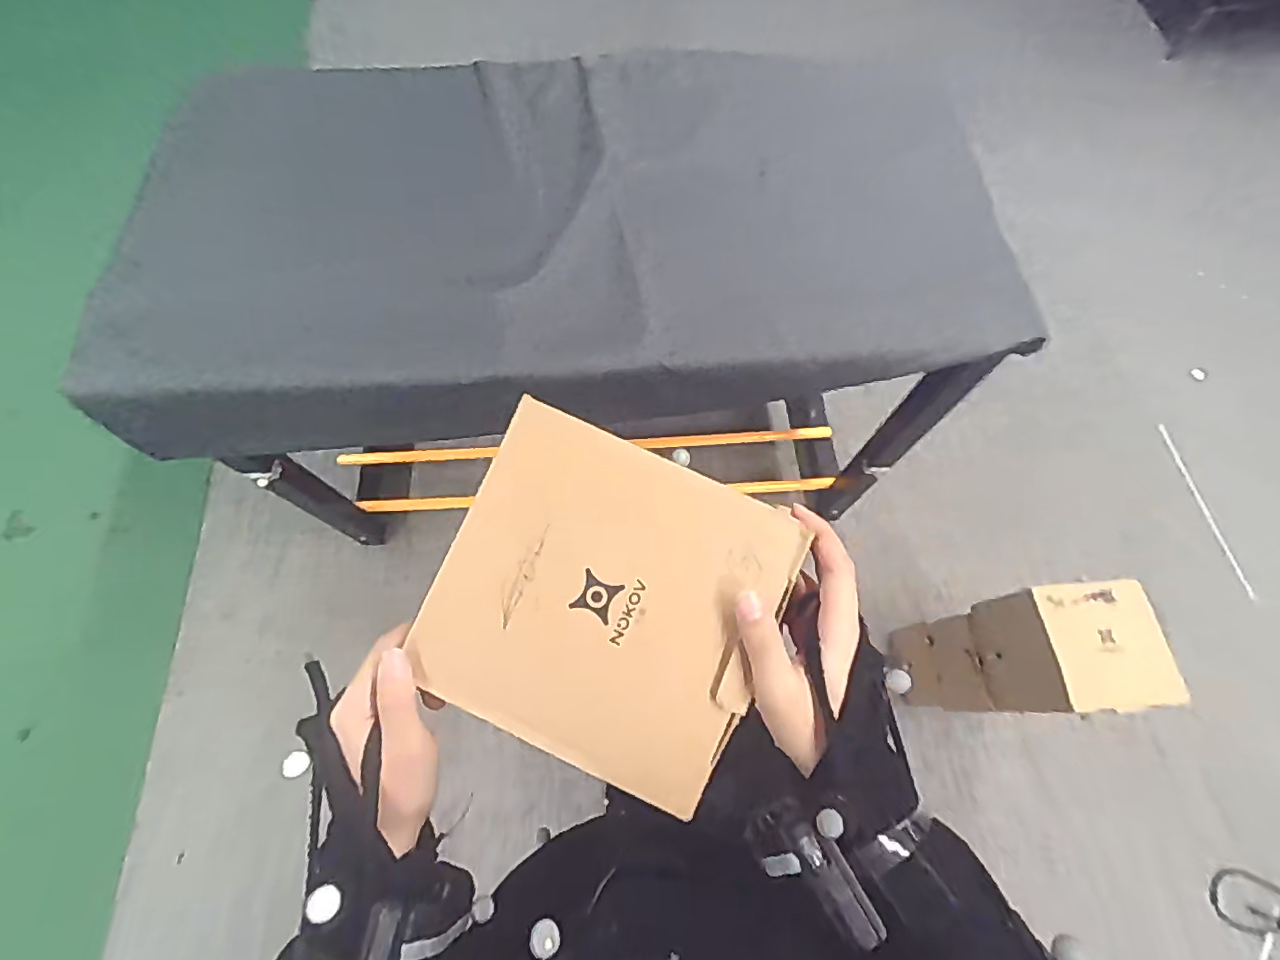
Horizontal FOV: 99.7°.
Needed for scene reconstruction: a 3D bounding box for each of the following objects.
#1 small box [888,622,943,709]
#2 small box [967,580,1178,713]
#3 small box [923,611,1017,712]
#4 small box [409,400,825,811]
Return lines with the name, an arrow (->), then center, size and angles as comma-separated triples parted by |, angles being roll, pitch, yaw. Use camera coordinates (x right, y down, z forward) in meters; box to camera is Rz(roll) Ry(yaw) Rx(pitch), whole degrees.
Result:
small box -> 0.664, 0.394, 1.151 | 0.179, 0.176, 0.168 | -3, 66, -2
small box -> 0.657, 0.264, 0.849 | 0.168, 0.176, 0.179 | -3, 68, -2
small box -> 0.653, 0.333, 0.998 | 0.179, 0.176, 0.168 | -5, 67, -3
small box -> -0.009, 0.071, 0.368 | 0.179, 0.176, 0.168 | 25, 83, 5
